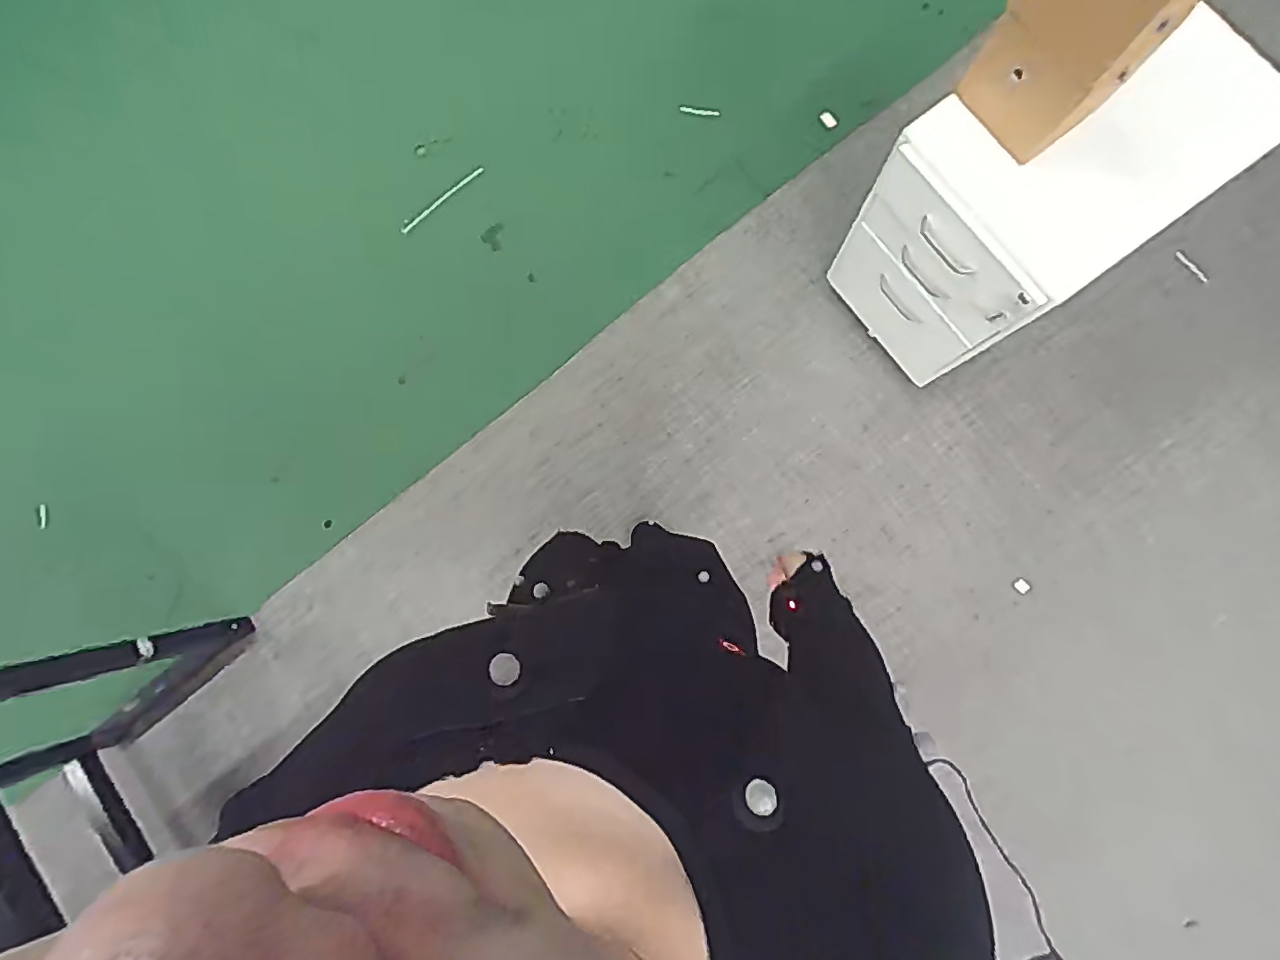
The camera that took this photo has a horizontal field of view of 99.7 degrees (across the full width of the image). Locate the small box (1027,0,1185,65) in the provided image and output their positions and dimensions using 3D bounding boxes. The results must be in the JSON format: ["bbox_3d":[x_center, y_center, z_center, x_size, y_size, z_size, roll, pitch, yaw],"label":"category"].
[{"bbox_3d":[0.614,-0.671,0.655,0.168,0.176,0.179,-37,85,2],"label":"small box"}]

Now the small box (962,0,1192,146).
[{"bbox_3d":[0.637,-0.662,0.816,0.168,0.176,0.179,-37,84,3],"label":"small box"}]
